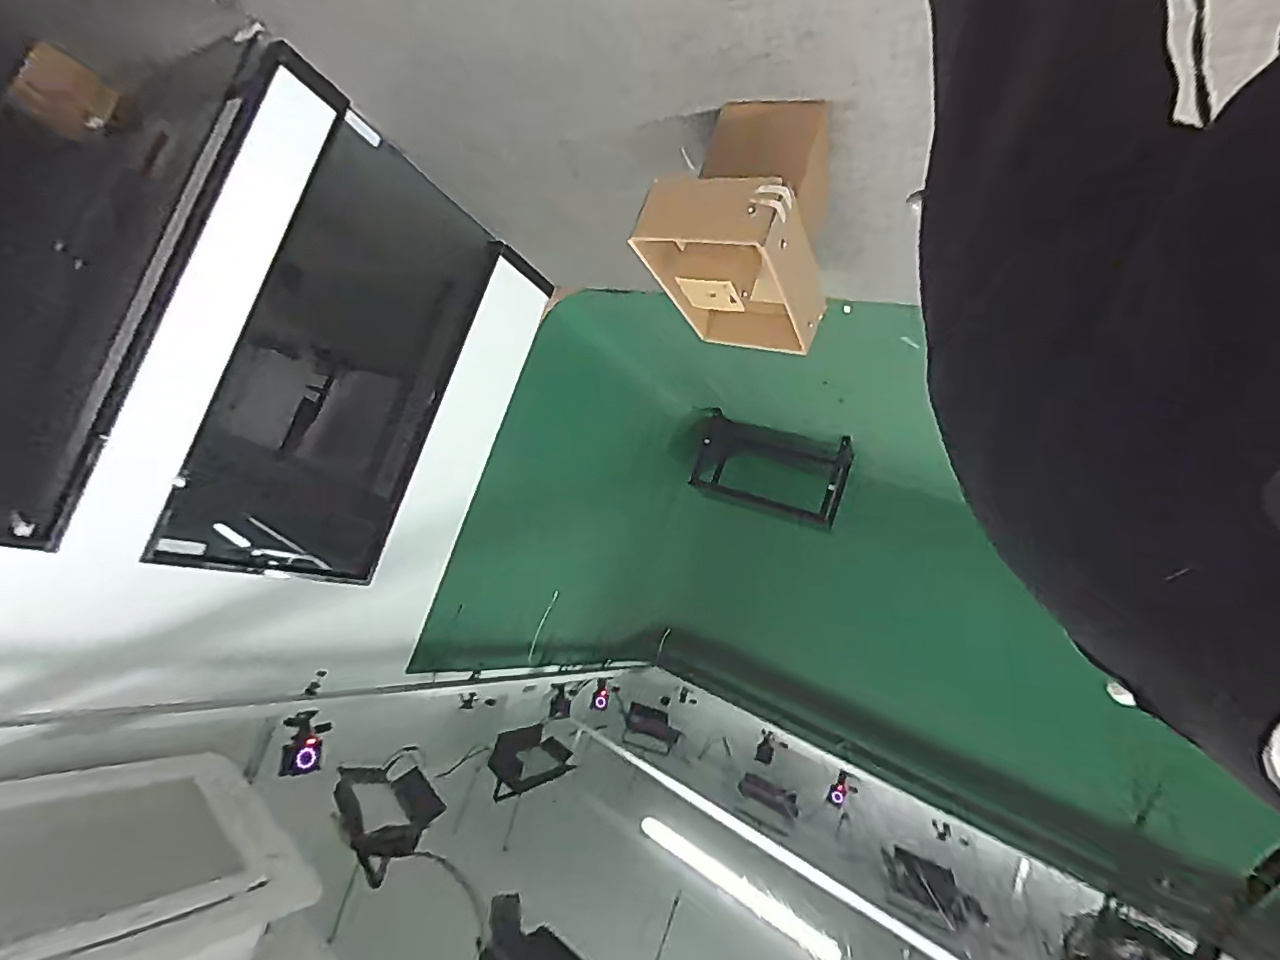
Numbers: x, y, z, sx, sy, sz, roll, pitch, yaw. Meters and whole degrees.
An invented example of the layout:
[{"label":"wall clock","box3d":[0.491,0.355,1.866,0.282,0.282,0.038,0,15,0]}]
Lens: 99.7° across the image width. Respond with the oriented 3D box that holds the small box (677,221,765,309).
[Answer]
[{"label":"small box","box3d":[0.235,-0.615,1.542,0.179,0.176,0.168,17,176,29]}]
